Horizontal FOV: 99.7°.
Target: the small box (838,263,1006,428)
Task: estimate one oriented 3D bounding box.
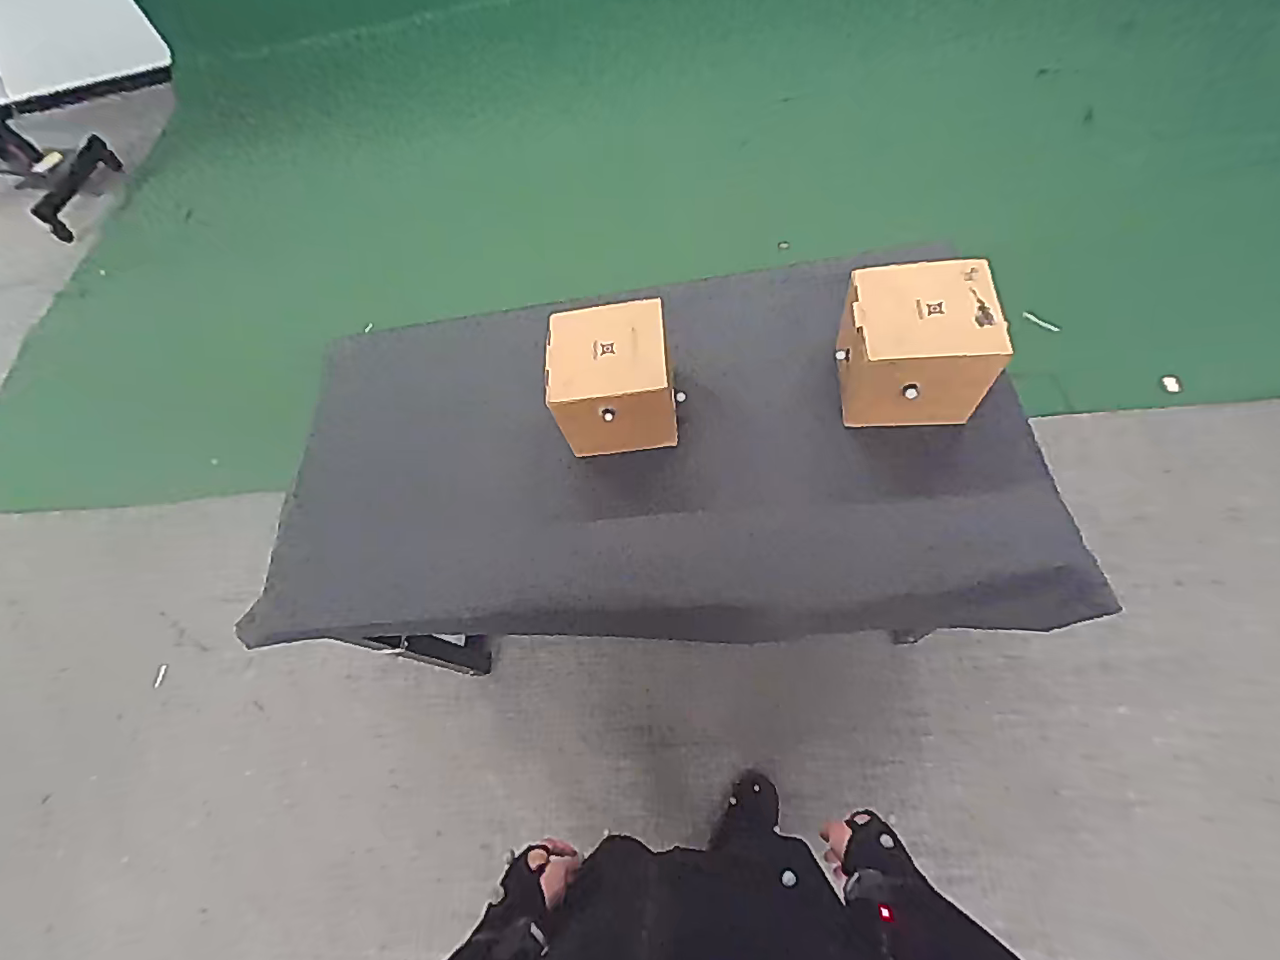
[{"bbox_3d":[0.392,-0.187,0.792,0.179,0.176,0.168,-1,65,11],"label":"small box"}]

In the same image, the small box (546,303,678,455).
[{"bbox_3d":[-0.038,-0.150,0.858,0.179,0.176,0.168,-6,65,6],"label":"small box"}]
